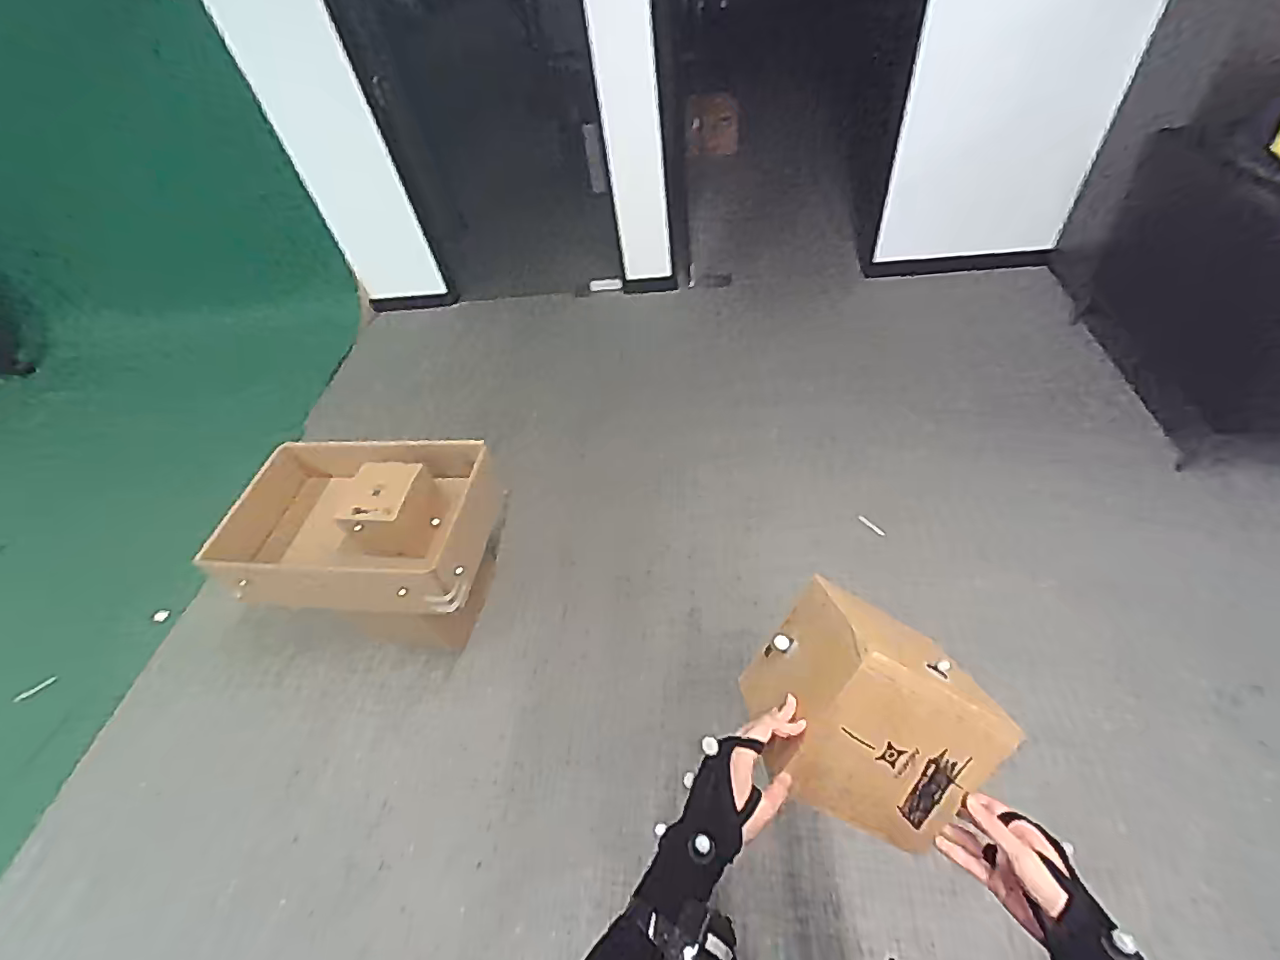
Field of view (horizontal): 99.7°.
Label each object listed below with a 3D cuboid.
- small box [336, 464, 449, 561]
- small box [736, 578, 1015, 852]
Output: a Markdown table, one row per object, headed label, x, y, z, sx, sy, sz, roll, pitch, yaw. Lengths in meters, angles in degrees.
| label | x | y | z | sx | sy | sz | roll | pitch | yaw |
| --- | --- | --- | --- | --- | --- | --- | --- | --- | --- |
| small box | -0.601 | 0.080 | 1.344 | 0.168 | 0.176 | 0.179 | 1 | 49 | 12 |
| small box | 0.226 | 0.230 | 0.570 | 0.179 | 0.168 | 0.176 | 30 | 11 | -7 |
